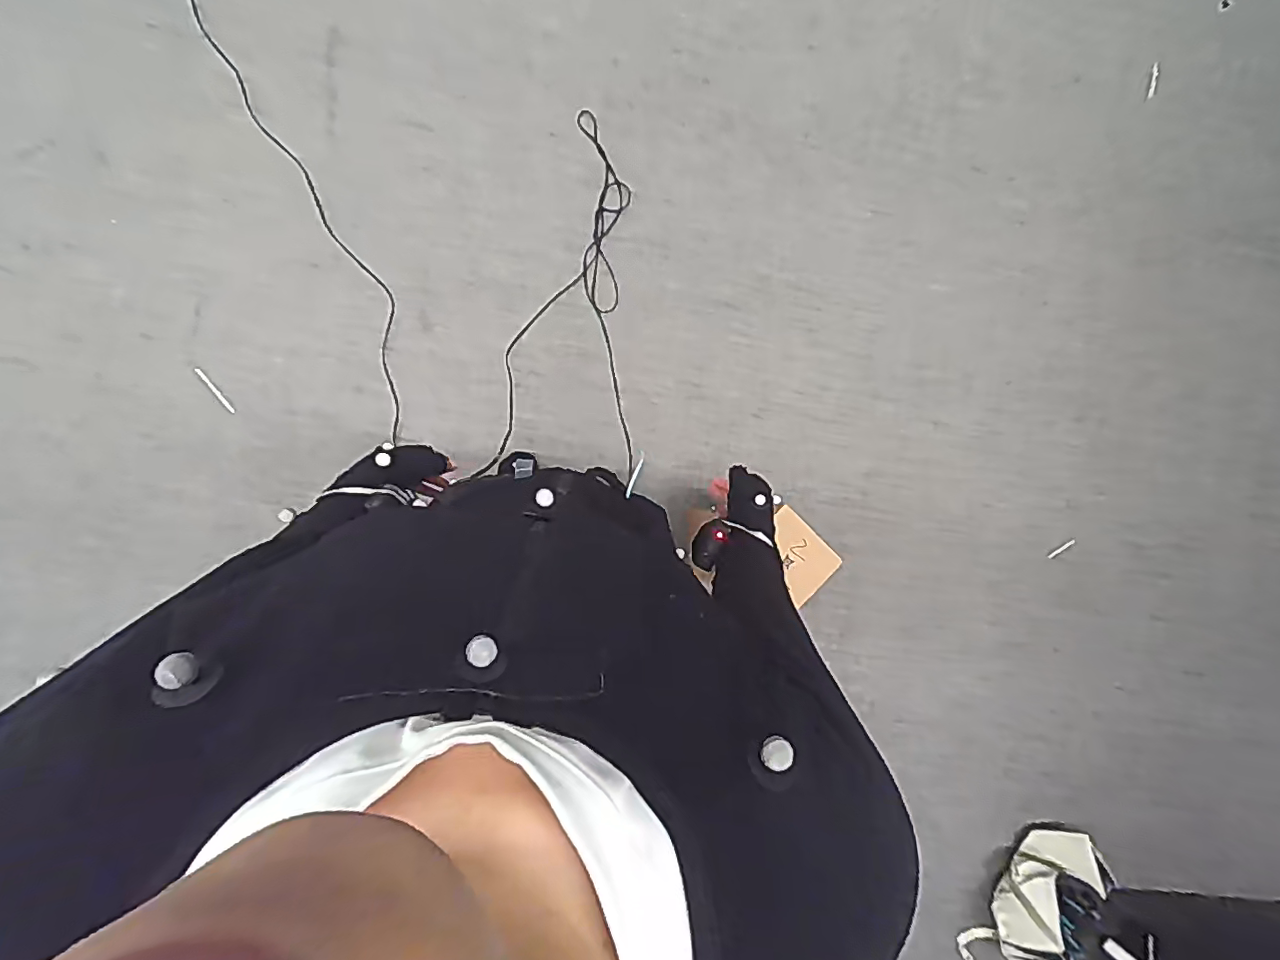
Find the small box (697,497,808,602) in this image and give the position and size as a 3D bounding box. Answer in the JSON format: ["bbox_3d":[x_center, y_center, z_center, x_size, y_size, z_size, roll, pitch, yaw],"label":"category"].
[{"bbox_3d":[0.256,0.155,1.284,0.168,0.176,0.179,38,89,-6],"label":"small box"}]

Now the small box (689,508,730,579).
[{"bbox_3d":[0.232,0.165,1.430,0.179,0.176,0.168,3,92,-6],"label":"small box"}]
